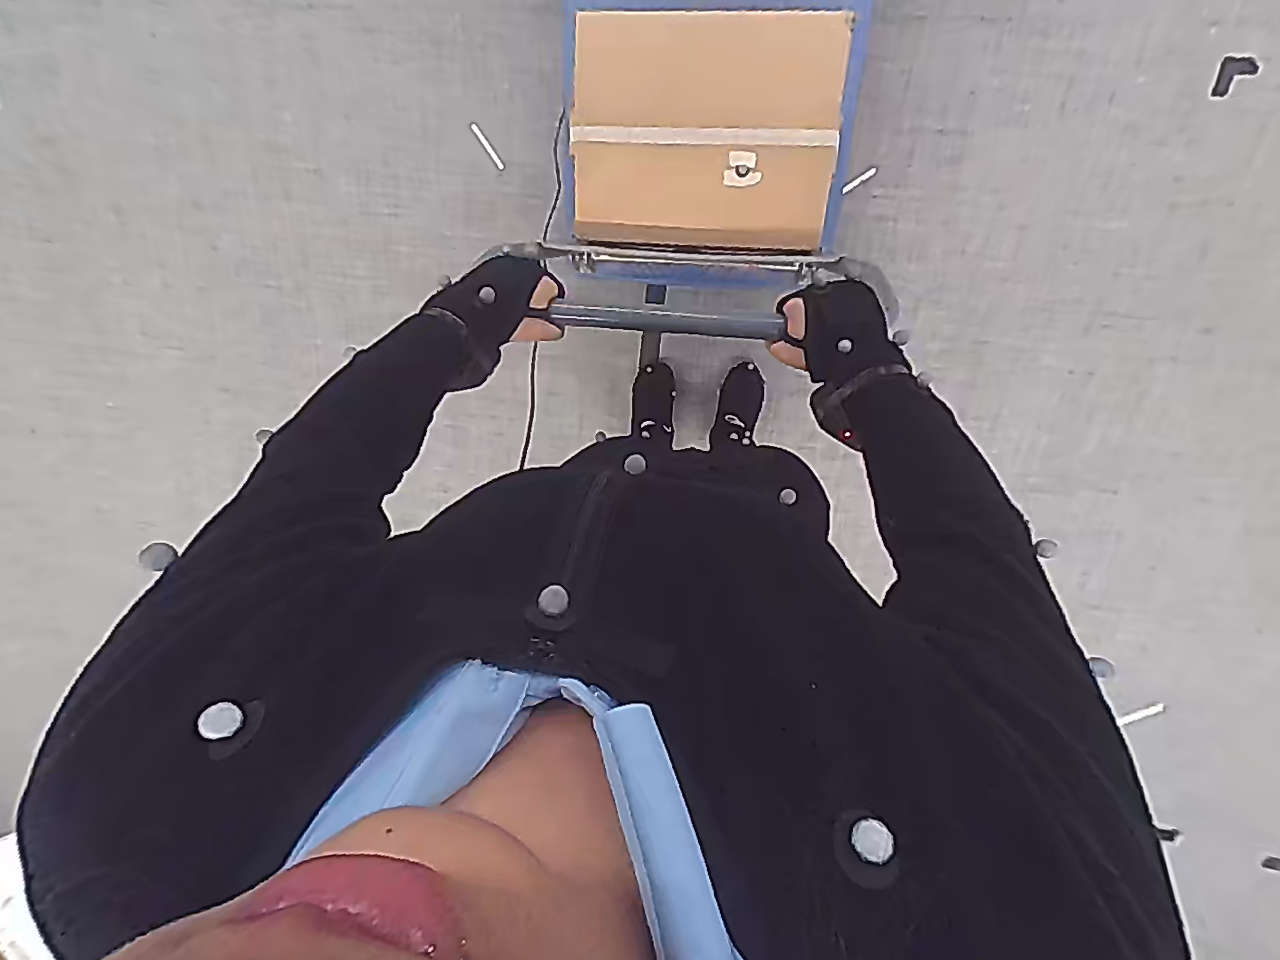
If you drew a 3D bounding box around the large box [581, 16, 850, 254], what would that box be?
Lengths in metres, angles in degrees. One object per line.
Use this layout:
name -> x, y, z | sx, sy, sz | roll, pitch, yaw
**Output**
large box -> 0.119, -0.589, 0.988 | 0.408, 0.320, 0.320 | 5, 112, 6
